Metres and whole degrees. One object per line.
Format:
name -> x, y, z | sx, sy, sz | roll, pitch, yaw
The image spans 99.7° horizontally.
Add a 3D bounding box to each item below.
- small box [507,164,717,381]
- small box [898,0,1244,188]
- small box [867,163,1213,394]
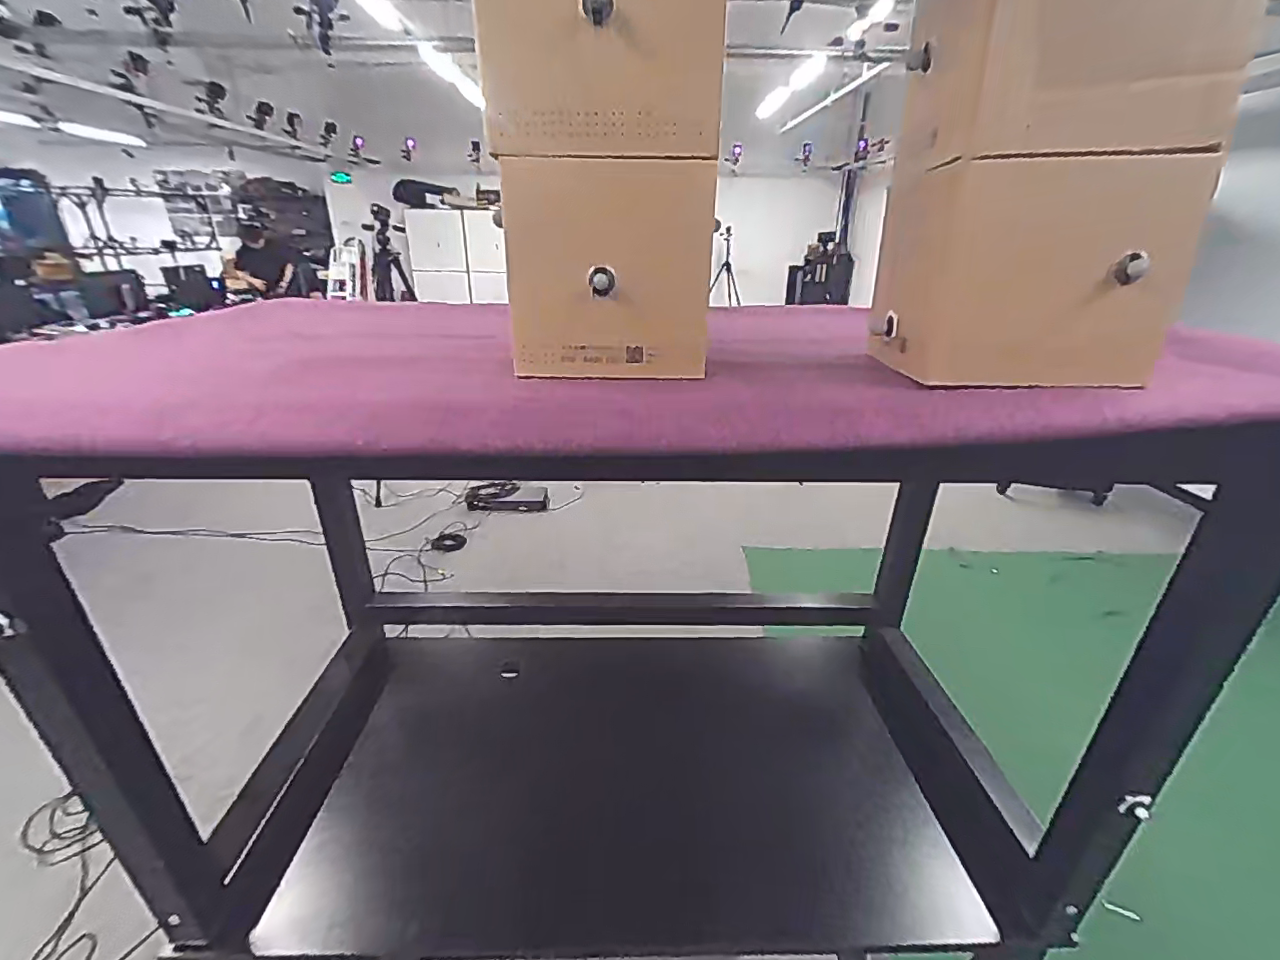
small box -> -0.022, -0.195, 0.518 | 0.168, 0.176, 0.179 | 1, 24, -1
small box -> 0.324, -0.329, 0.435 | 0.179, 0.176, 0.168 | 3, 22, 6
small box -> 0.327, -0.176, 0.489 | 0.179, 0.176, 0.168 | 0, 21, 4
